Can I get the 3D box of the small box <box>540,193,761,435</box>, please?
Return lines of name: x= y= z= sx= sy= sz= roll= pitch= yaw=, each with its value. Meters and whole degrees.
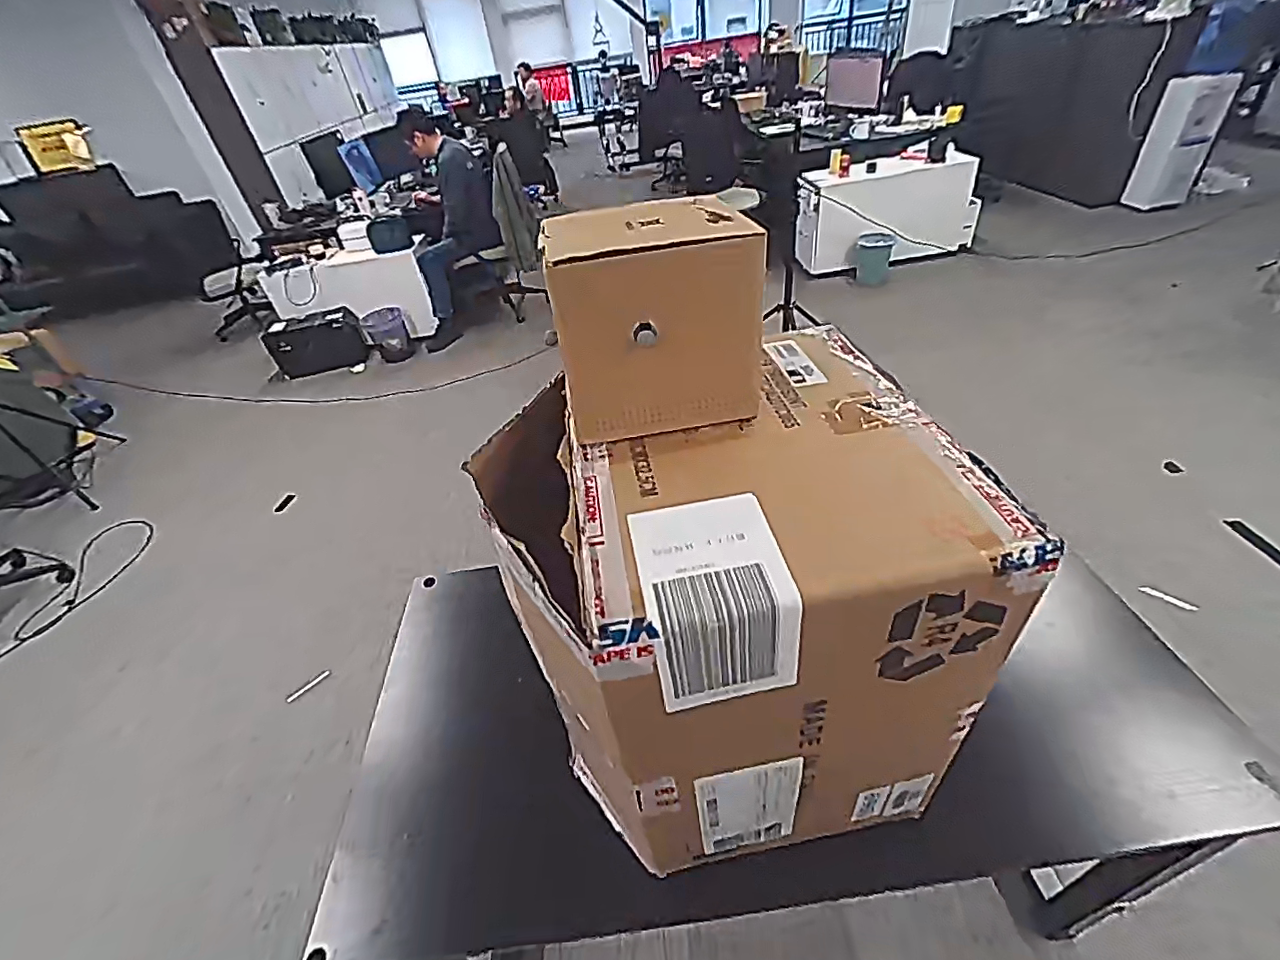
small box: x=0.009 y=-0.160 z=0.521 sx=0.179 sy=0.176 sz=0.168 roll=-10 pitch=38 yaw=-3
